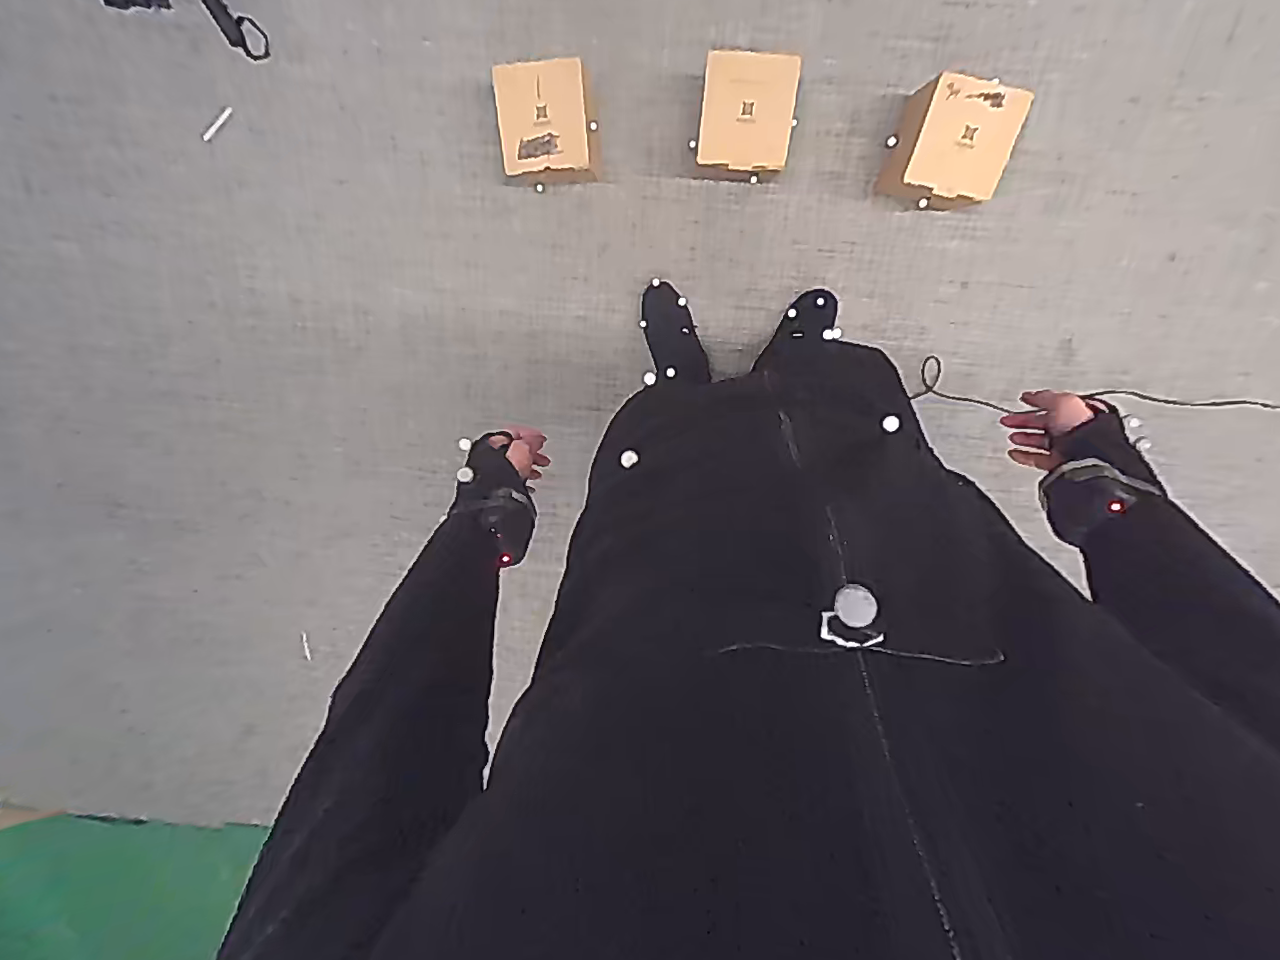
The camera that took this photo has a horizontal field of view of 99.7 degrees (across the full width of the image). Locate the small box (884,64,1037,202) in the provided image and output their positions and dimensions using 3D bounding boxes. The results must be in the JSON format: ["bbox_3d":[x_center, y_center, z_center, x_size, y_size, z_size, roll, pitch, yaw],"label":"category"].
[{"bbox_3d":[0.586,-0.640,1.022,0.168,0.176,0.179,14,114,0],"label":"small box"}]

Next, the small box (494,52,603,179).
[{"bbox_3d":[-0.170,-0.702,1.063,0.168,0.176,0.179,-2,111,5],"label":"small box"}]

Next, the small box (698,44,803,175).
[{"bbox_3d":[0.201,-0.696,1.036,0.168,0.176,0.179,4,111,2],"label":"small box"}]
